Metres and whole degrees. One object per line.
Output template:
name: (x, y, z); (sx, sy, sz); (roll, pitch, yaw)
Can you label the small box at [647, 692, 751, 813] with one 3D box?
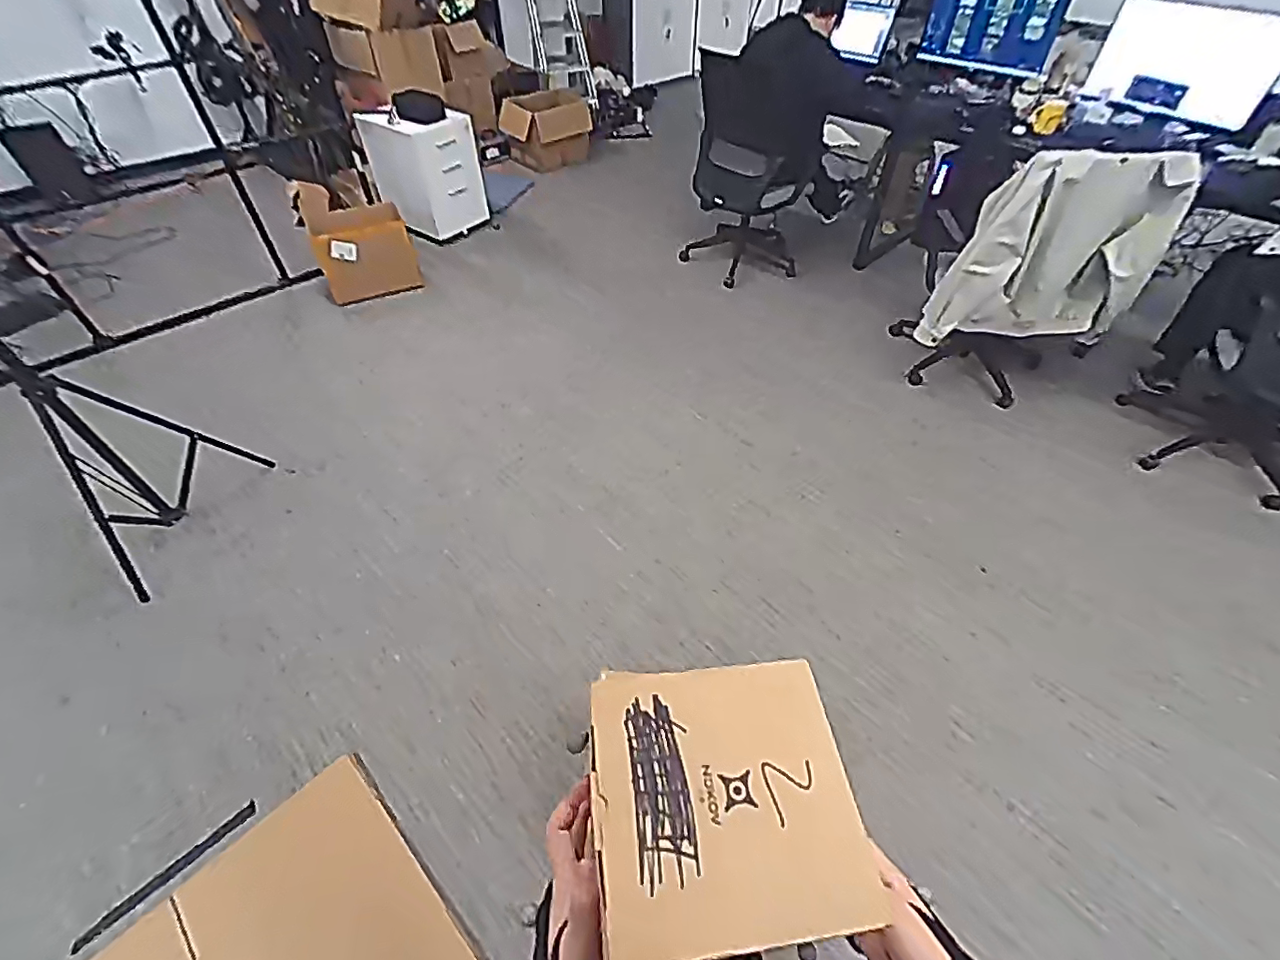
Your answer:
small box: (0.104, 0.511, 1.010); (0.179, 0.176, 0.168); (3, 49, 2)
